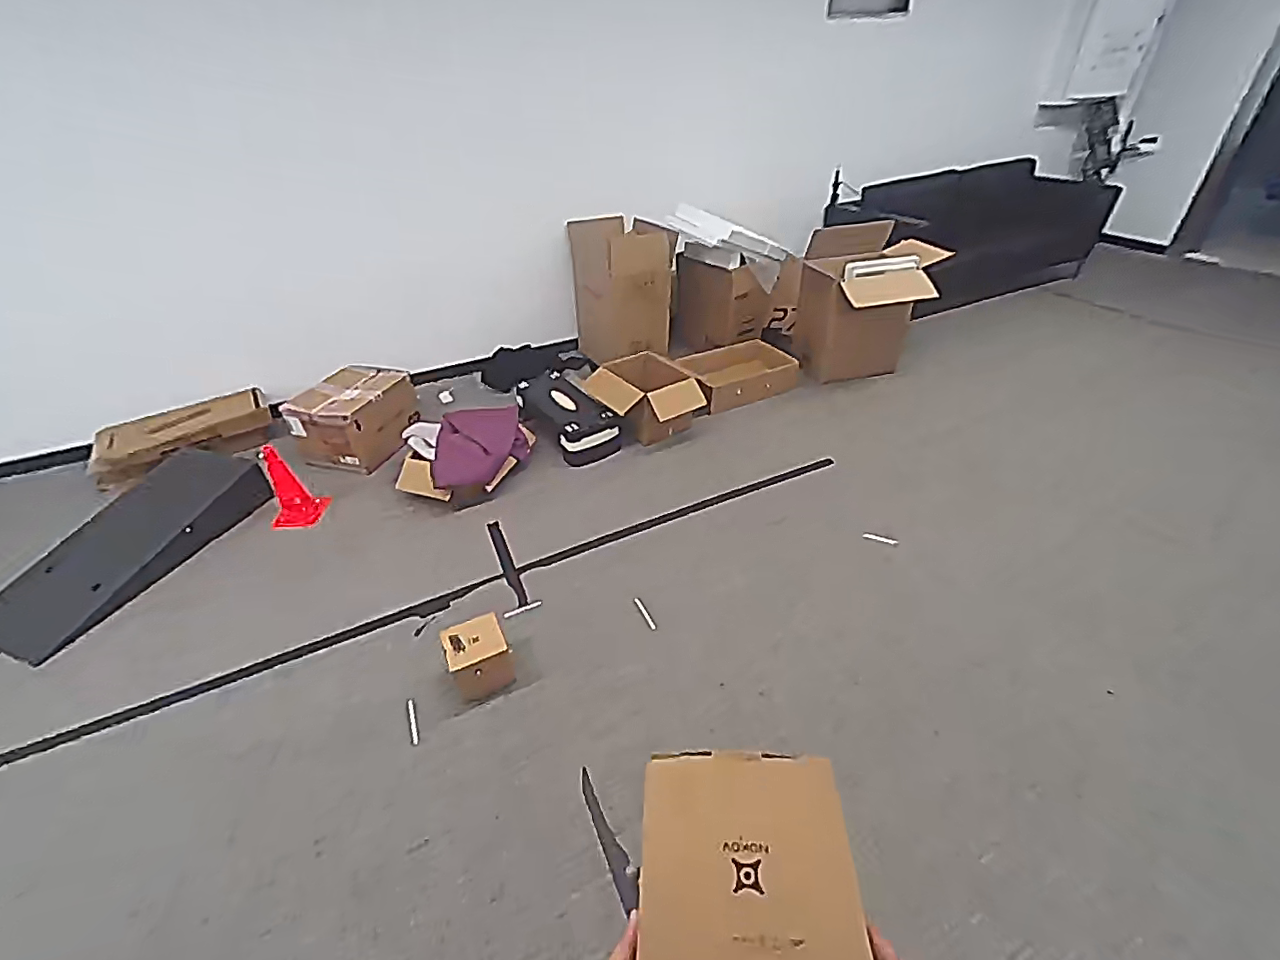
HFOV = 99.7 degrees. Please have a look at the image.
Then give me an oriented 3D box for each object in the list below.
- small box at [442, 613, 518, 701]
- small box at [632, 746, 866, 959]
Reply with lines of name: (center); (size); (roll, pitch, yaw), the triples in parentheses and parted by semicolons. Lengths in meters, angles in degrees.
small box: (-0.503, 0.563, 1.707); (0.179, 0.176, 0.168); (-19, 40, -21)
small box: (0.082, 0.360, 0.471); (0.168, 0.176, 0.179); (0, 41, 4)
